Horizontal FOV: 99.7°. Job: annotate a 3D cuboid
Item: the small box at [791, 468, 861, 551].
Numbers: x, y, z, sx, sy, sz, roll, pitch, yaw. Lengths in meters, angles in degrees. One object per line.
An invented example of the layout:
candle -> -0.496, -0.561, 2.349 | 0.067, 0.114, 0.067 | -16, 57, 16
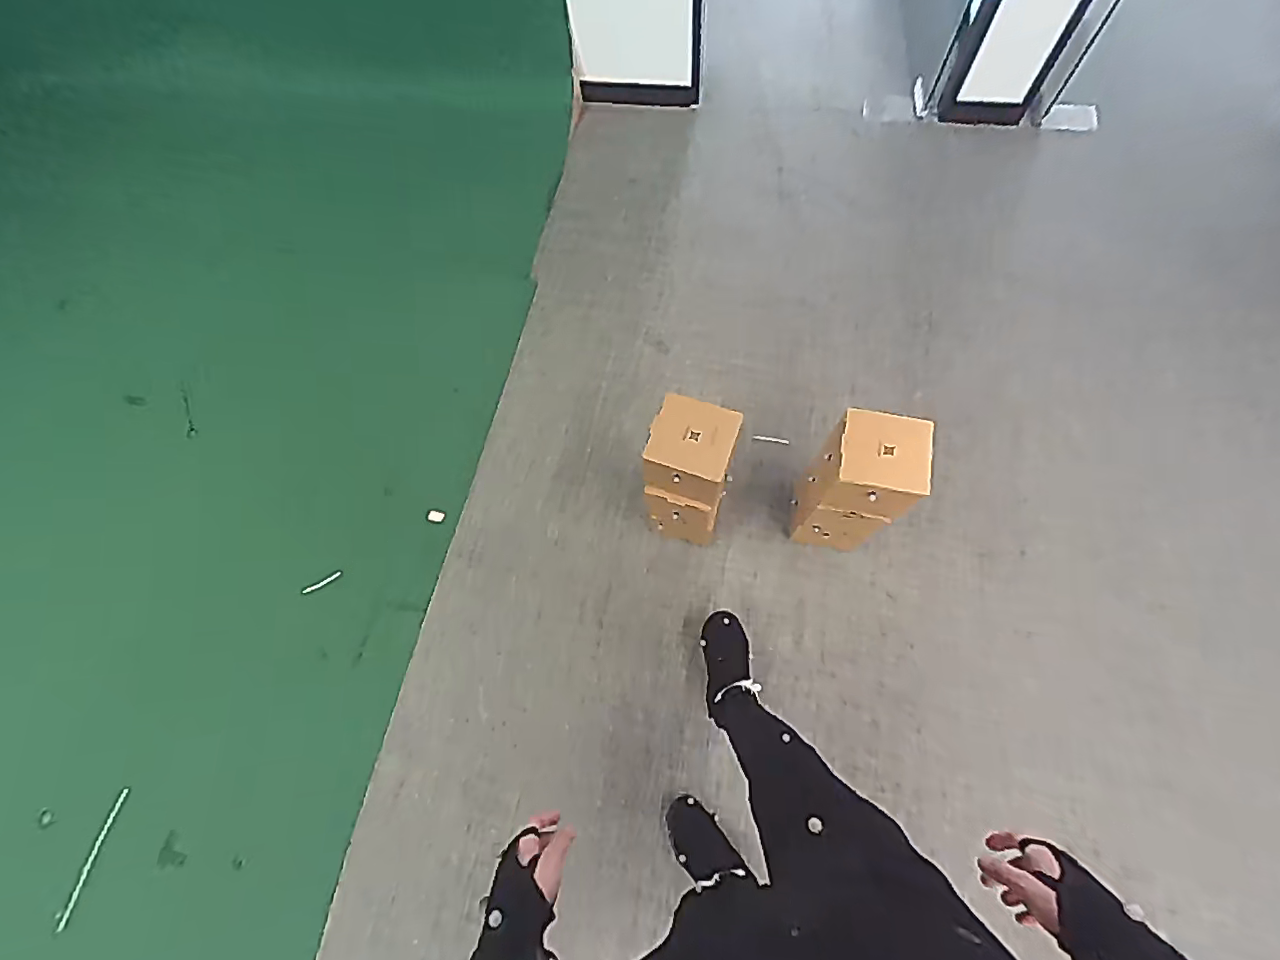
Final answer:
small box -> 0.518, 0.086, 1.475 | 0.179, 0.176, 0.168 | 10, 71, 9

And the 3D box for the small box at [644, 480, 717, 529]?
small box -> 0.121, 0.008, 1.364 | 0.168, 0.176, 0.179 | 16, 71, 11

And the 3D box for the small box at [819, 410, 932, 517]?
small box -> 0.503, -0.029, 1.170 | 0.179, 0.176, 0.168 | 10, 70, 9

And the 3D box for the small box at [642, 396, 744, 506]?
small box -> 0.119, -0.059, 1.215 | 0.179, 0.176, 0.168 | 18, 71, 12

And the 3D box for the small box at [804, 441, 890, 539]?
small box -> 0.506, 0.031, 1.321 | 0.168, 0.176, 0.179 | 11, 69, 9
